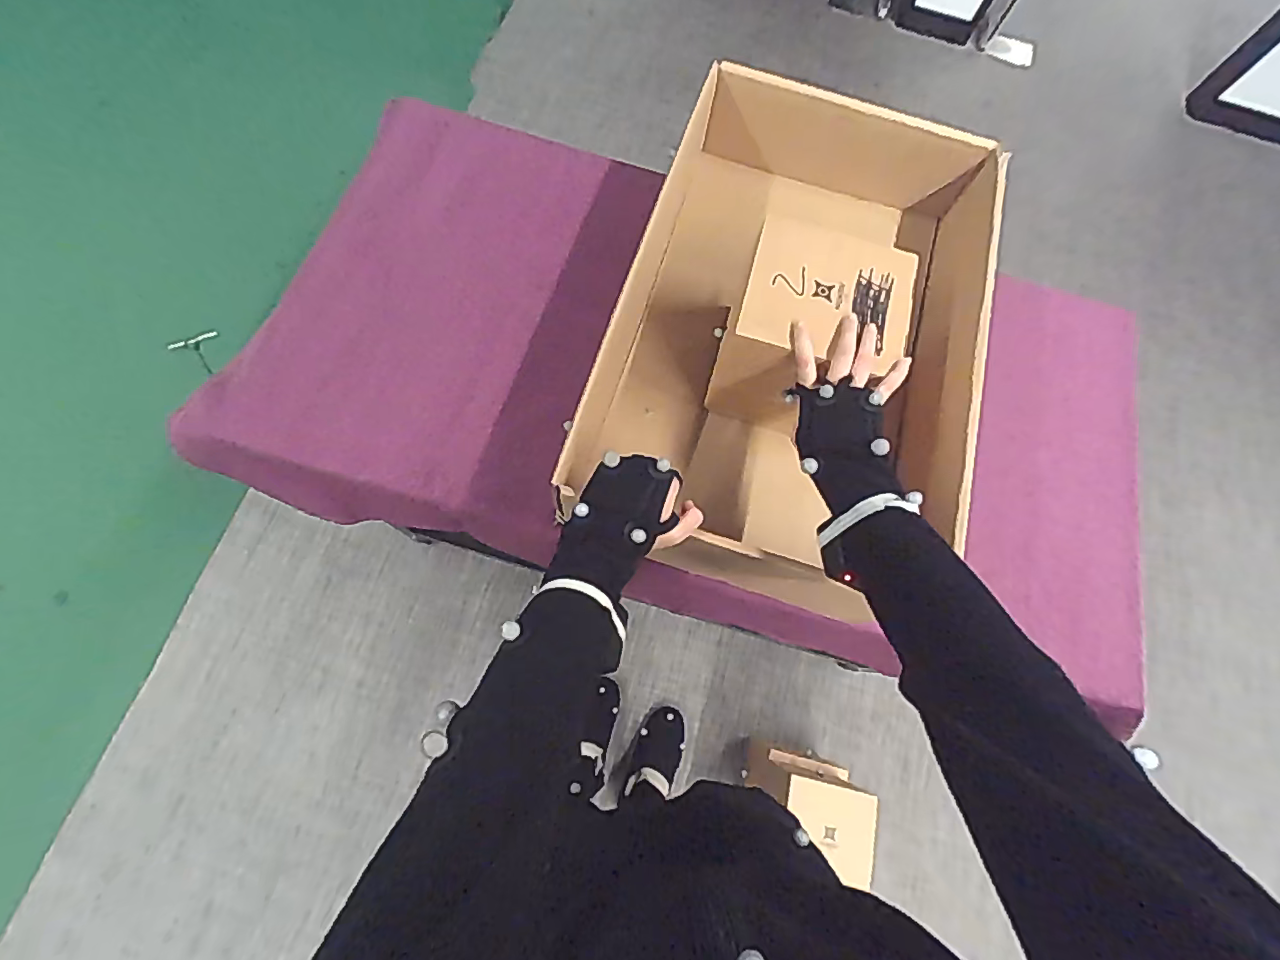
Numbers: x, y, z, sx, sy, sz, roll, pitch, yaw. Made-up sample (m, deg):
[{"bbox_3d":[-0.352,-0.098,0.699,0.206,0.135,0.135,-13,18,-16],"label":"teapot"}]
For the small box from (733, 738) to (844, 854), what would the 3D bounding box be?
[{"bbox_3d":[0.324,0.690,1.203,0.179,0.176,0.168,16,72,1],"label":"small box"}]
